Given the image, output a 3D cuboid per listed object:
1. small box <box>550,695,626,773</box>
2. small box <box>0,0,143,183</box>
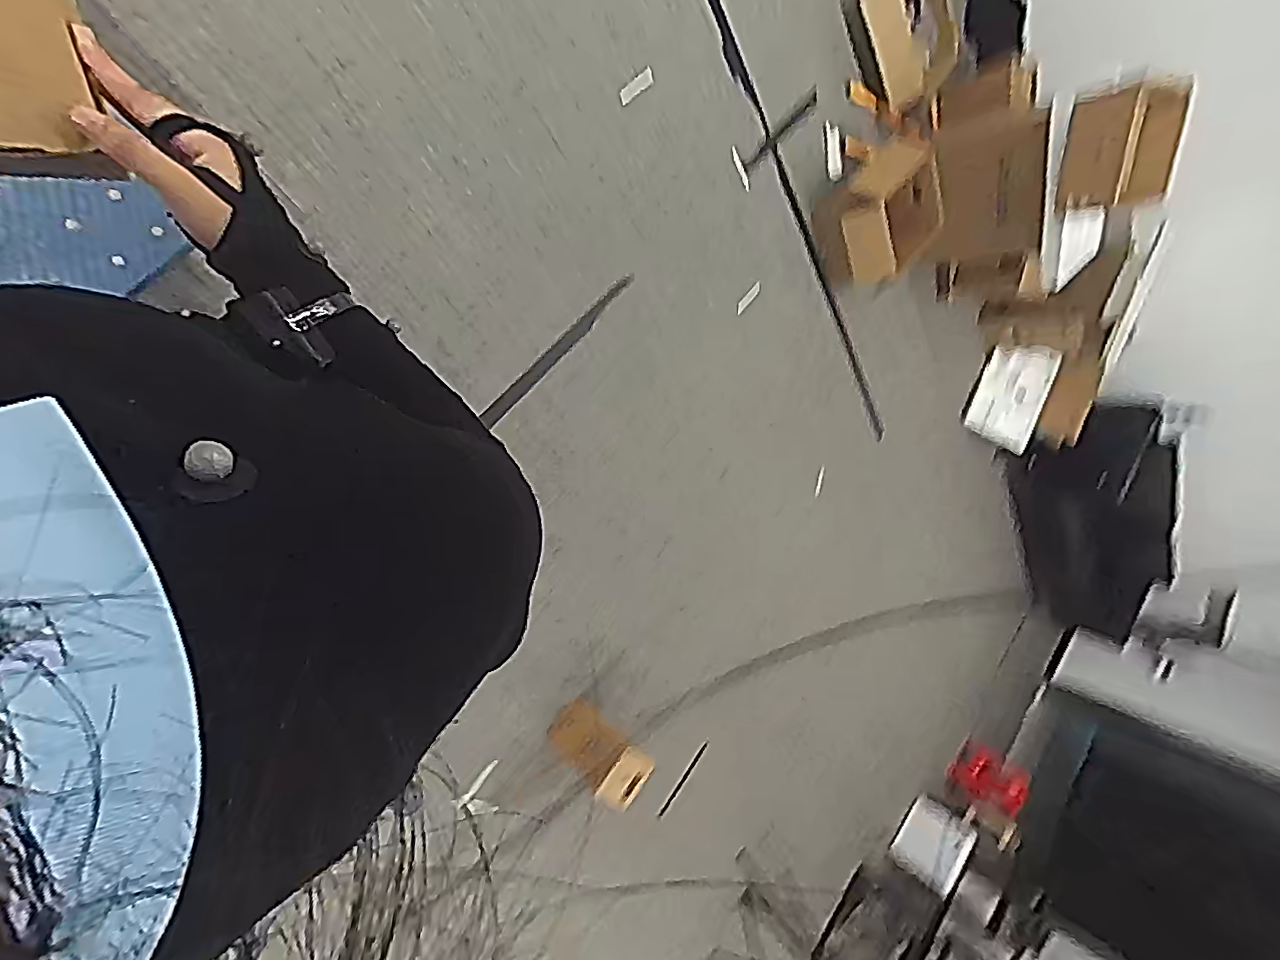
[{"bbox_3d":[-0.188,0.907,1.944,0.168,0.176,0.179,-52,127,-16],"label":"small box"},{"bbox_3d":[-0.433,-0.291,0.323,0.168,0.176,0.179,-15,117,-34],"label":"small box"}]
